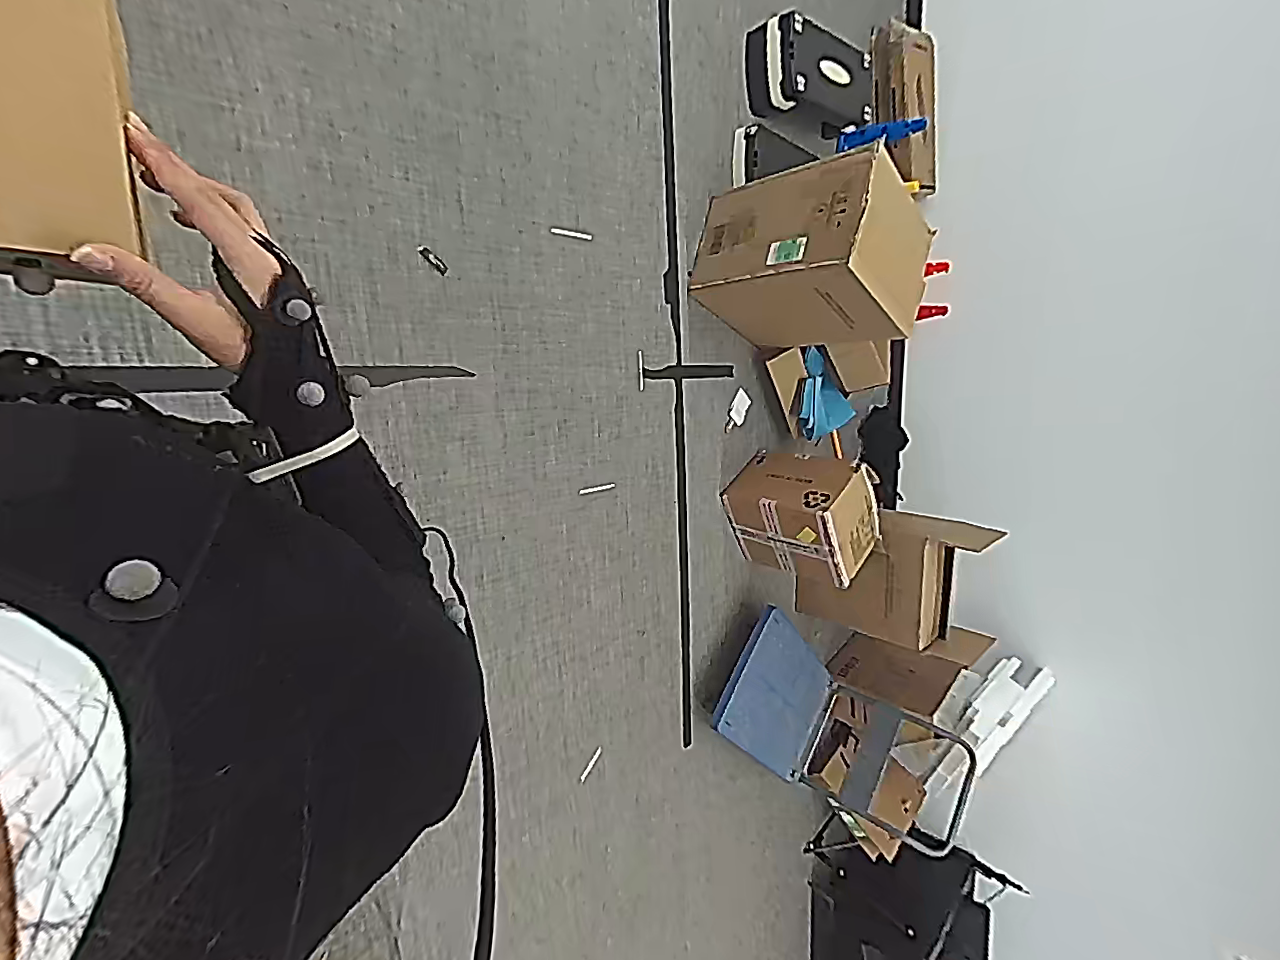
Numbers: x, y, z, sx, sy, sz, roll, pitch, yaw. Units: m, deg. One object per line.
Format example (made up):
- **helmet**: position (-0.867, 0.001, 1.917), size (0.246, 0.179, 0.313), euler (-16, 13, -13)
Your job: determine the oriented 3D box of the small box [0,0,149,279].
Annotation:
- **small box**: position (-0.373, -0.202, 0.273), size (0.179, 0.176, 0.168), euler (-6, 105, -39)
